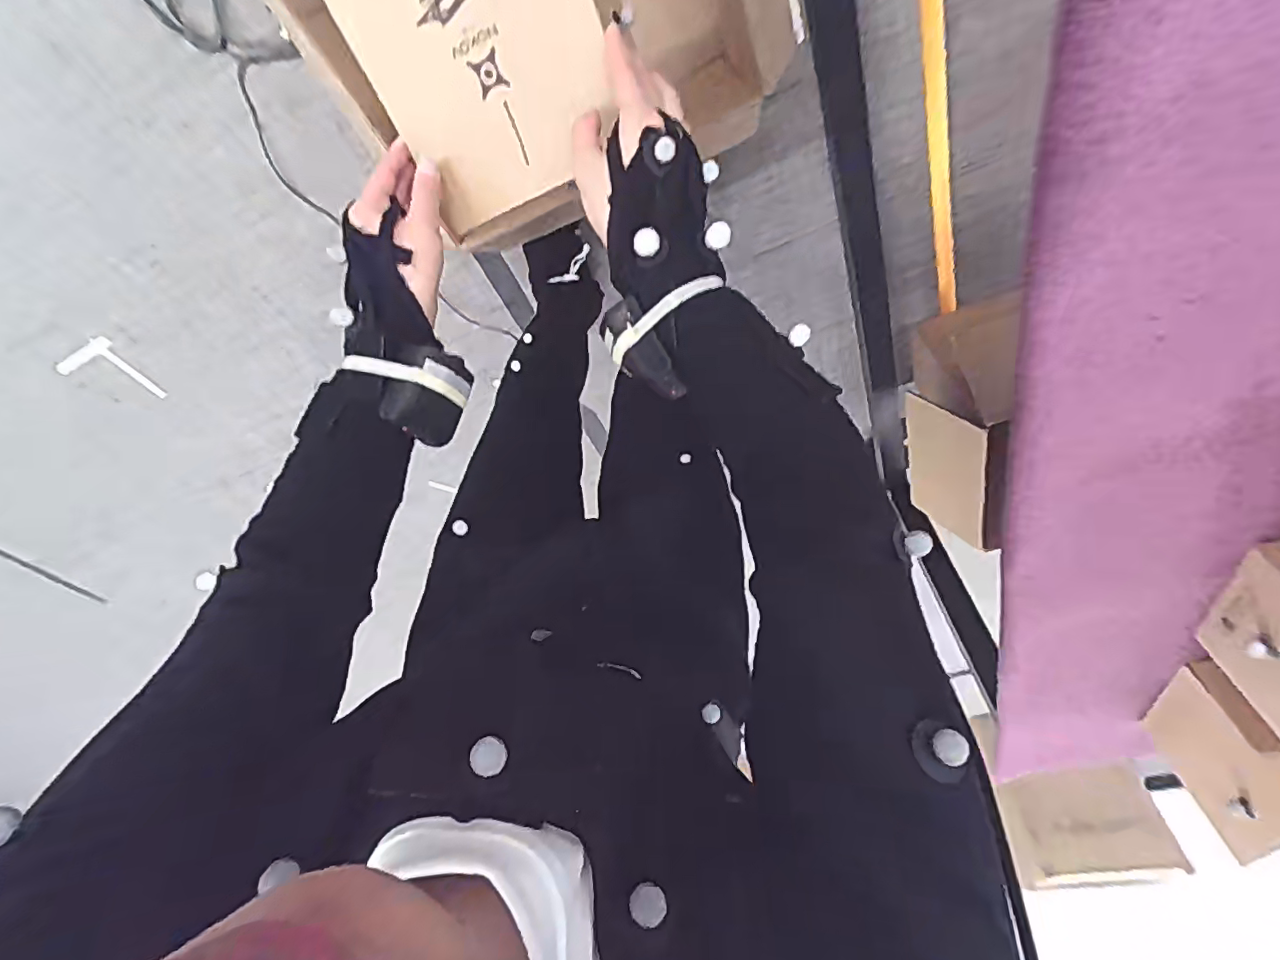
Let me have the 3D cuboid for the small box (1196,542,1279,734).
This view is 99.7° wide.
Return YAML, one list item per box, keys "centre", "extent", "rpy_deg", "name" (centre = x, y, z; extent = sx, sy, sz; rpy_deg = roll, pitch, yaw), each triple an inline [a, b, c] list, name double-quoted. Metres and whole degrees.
- centre: [0.638, 0.140, 0.440]
  extent: [0.179, 0.176, 0.168]
  rpy_deg: [-16, 132, 13]
  name: "small box"

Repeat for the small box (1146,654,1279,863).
- centre: [0.723, 0.300, 0.598]
  extent: [0.168, 0.176, 0.179]
  rpy_deg: [-15, 132, 11]
  name: "small box"
